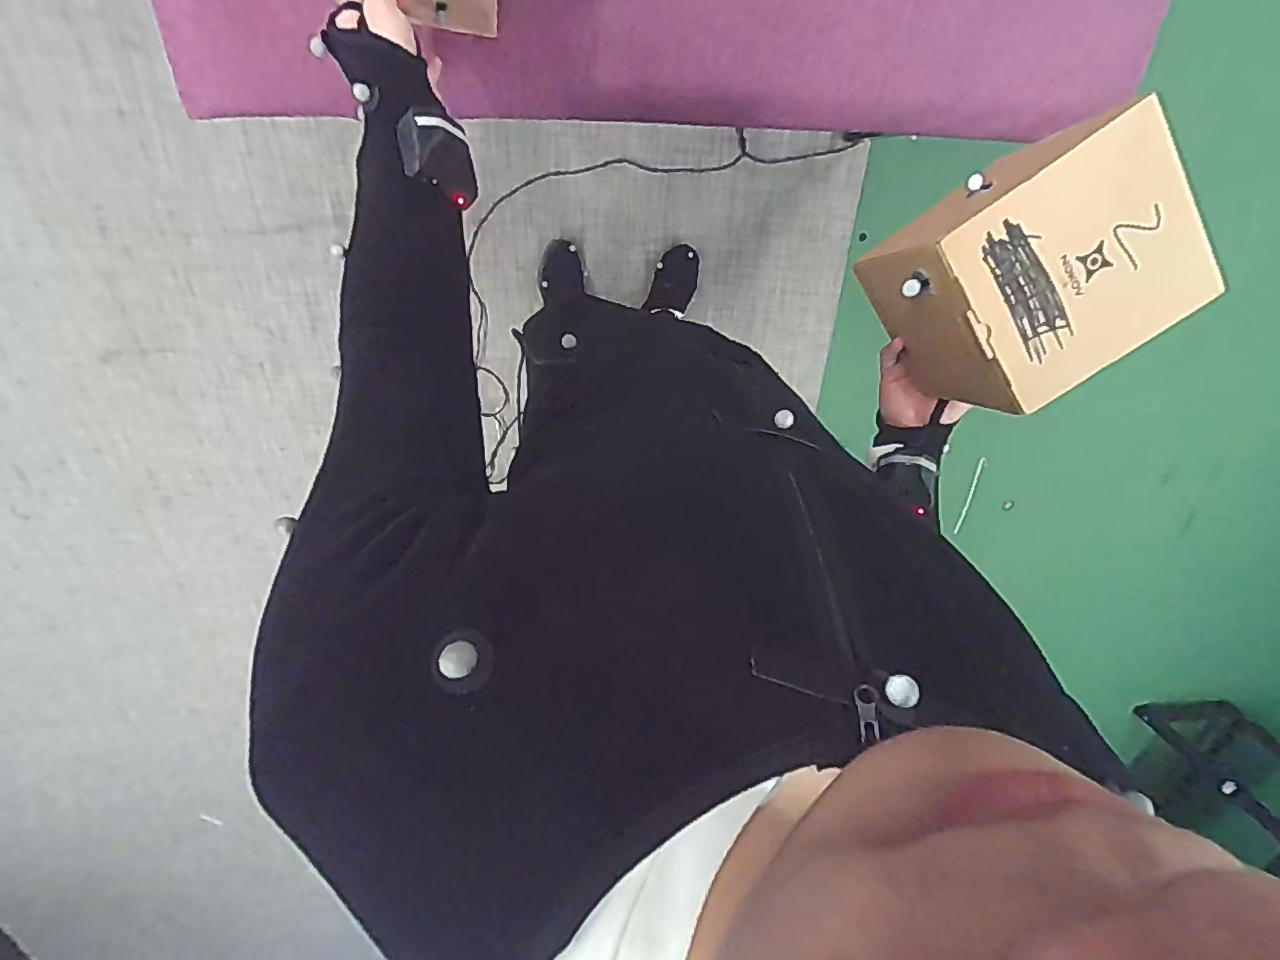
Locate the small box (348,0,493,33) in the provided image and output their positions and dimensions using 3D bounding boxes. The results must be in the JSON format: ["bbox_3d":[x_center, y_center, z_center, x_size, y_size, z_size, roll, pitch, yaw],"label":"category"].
[{"bbox_3d":[-0.226,-0.555,0.501,0.168,0.176,0.179,3,115,-11],"label":"small box"}]

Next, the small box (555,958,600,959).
[{"bbox_3d":[-0.191,1.509,1.538,0.168,0.176,0.179,9,113,-12],"label":"small box"}]
